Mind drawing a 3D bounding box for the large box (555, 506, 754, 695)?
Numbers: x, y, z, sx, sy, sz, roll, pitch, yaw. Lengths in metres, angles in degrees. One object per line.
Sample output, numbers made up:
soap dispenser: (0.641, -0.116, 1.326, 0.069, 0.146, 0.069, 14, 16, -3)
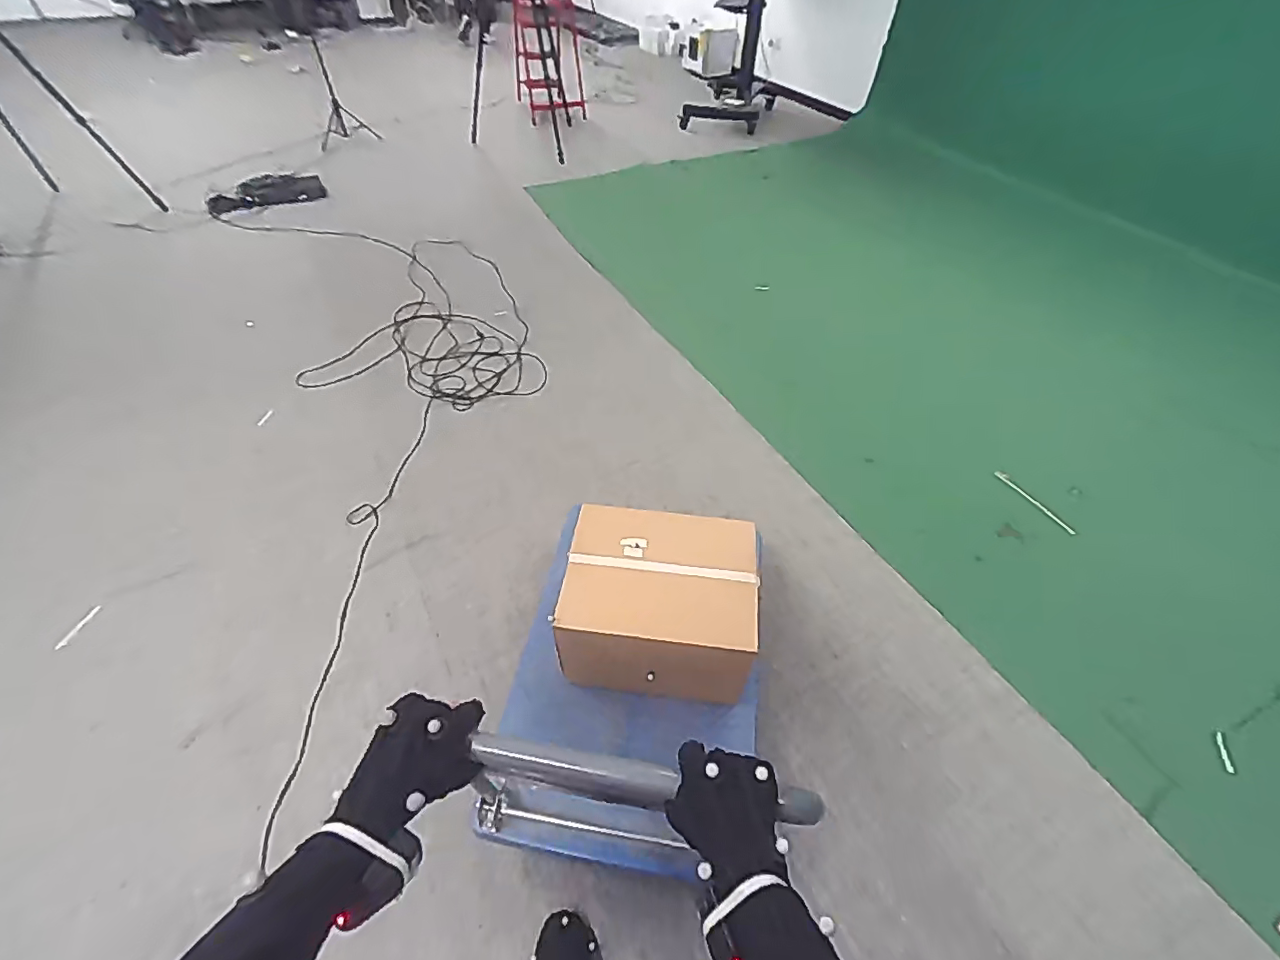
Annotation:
large box: (0.043, 0.288, 1.274, 0.408, 0.320, 0.320, 5, 49, 4)
